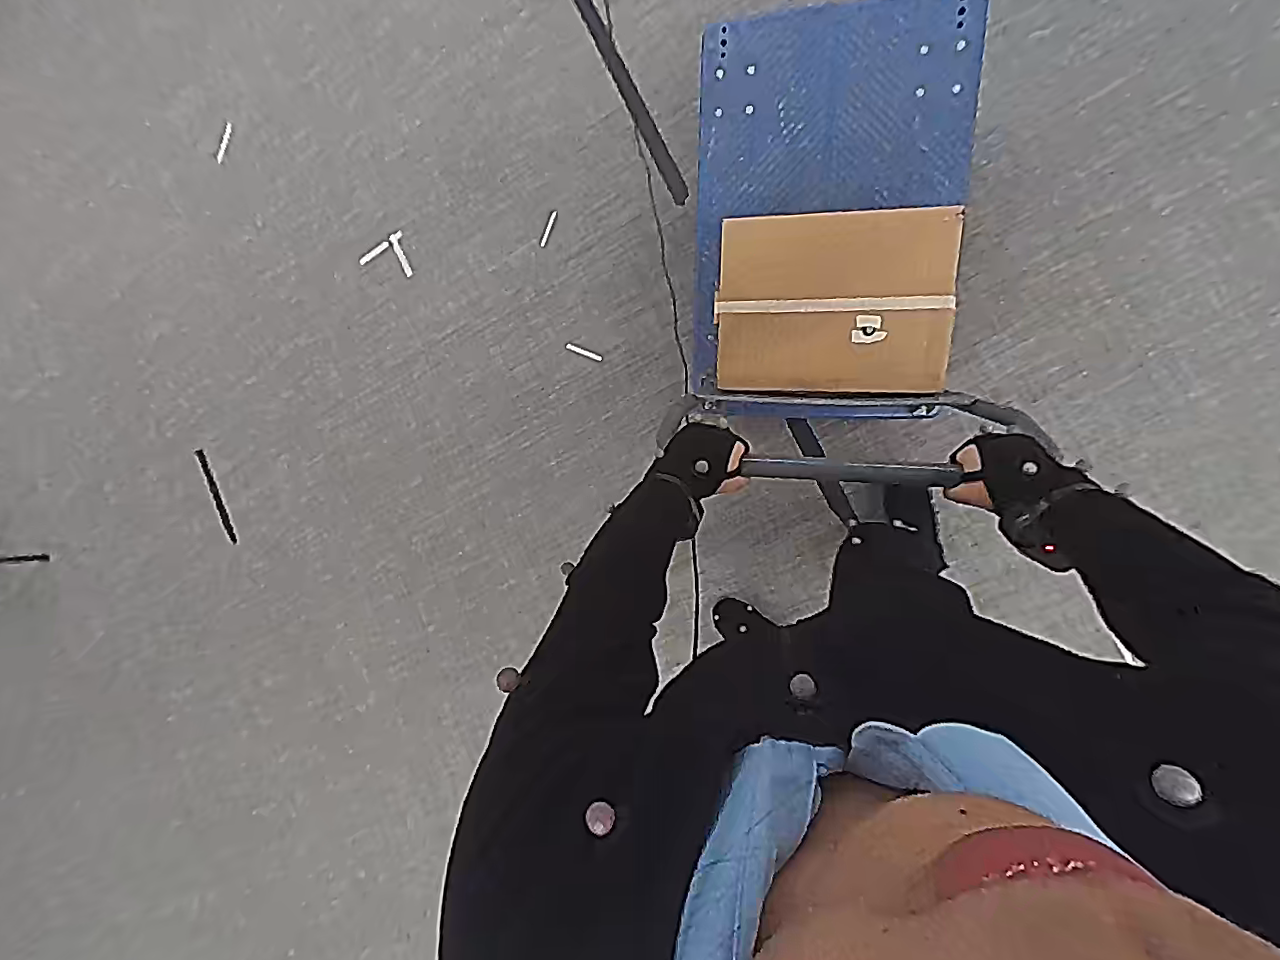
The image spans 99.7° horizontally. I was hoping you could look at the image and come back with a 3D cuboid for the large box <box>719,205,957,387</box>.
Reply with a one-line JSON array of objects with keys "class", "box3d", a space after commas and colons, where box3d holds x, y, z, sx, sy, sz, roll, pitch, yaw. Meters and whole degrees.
[{"class": "large box", "box3d": [0.379, -0.356, 1.136, 0.408, 0.320, 0.320, 4, 102, 12]}]
